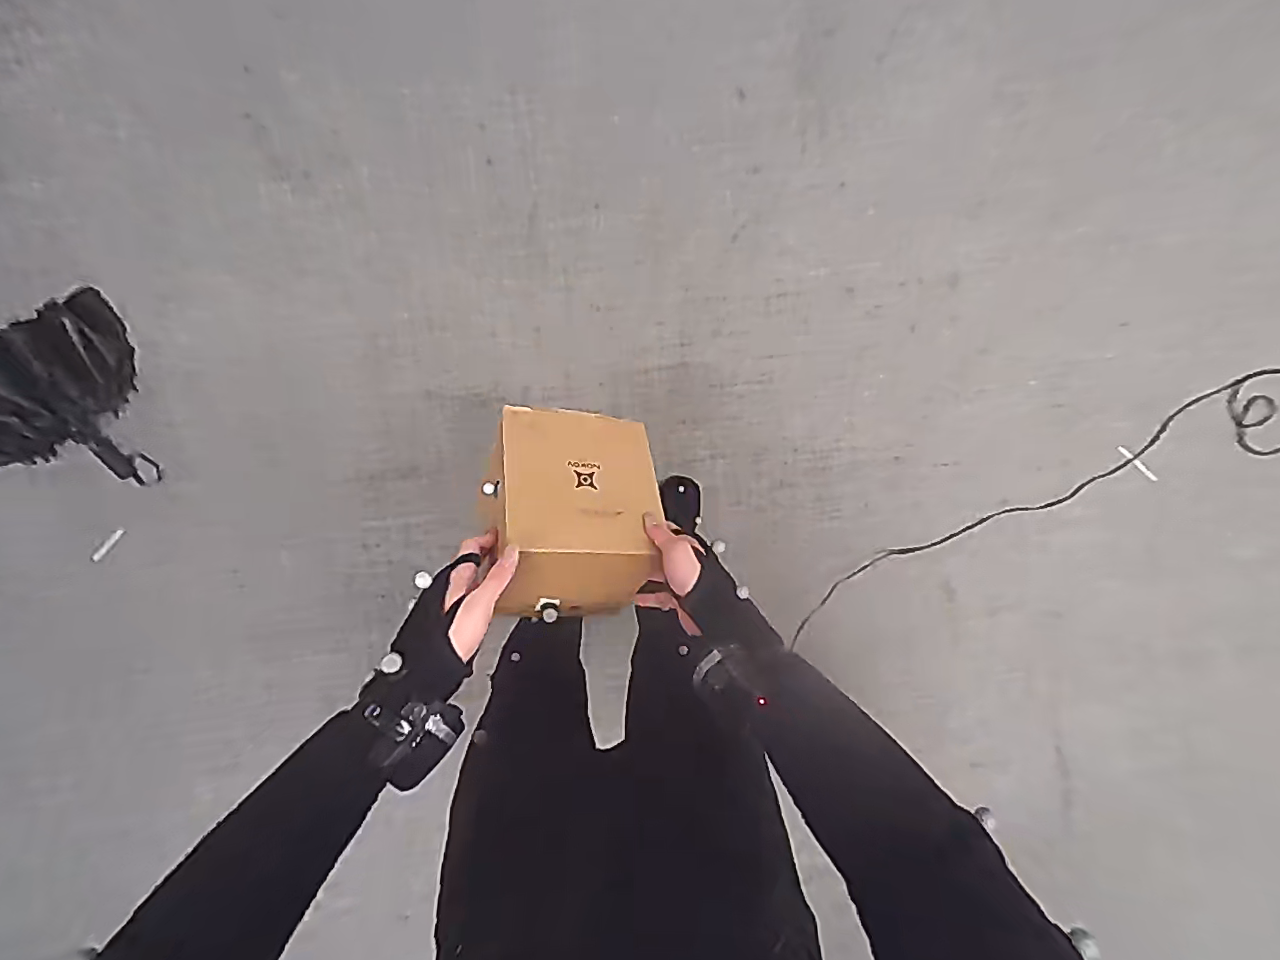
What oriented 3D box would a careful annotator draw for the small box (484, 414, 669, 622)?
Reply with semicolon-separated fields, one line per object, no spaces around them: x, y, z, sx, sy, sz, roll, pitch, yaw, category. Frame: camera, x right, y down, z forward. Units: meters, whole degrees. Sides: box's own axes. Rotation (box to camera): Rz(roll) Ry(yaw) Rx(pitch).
-0.087;0.050;0.631;0.168;0.176;0.179;4;54;-23;small box
